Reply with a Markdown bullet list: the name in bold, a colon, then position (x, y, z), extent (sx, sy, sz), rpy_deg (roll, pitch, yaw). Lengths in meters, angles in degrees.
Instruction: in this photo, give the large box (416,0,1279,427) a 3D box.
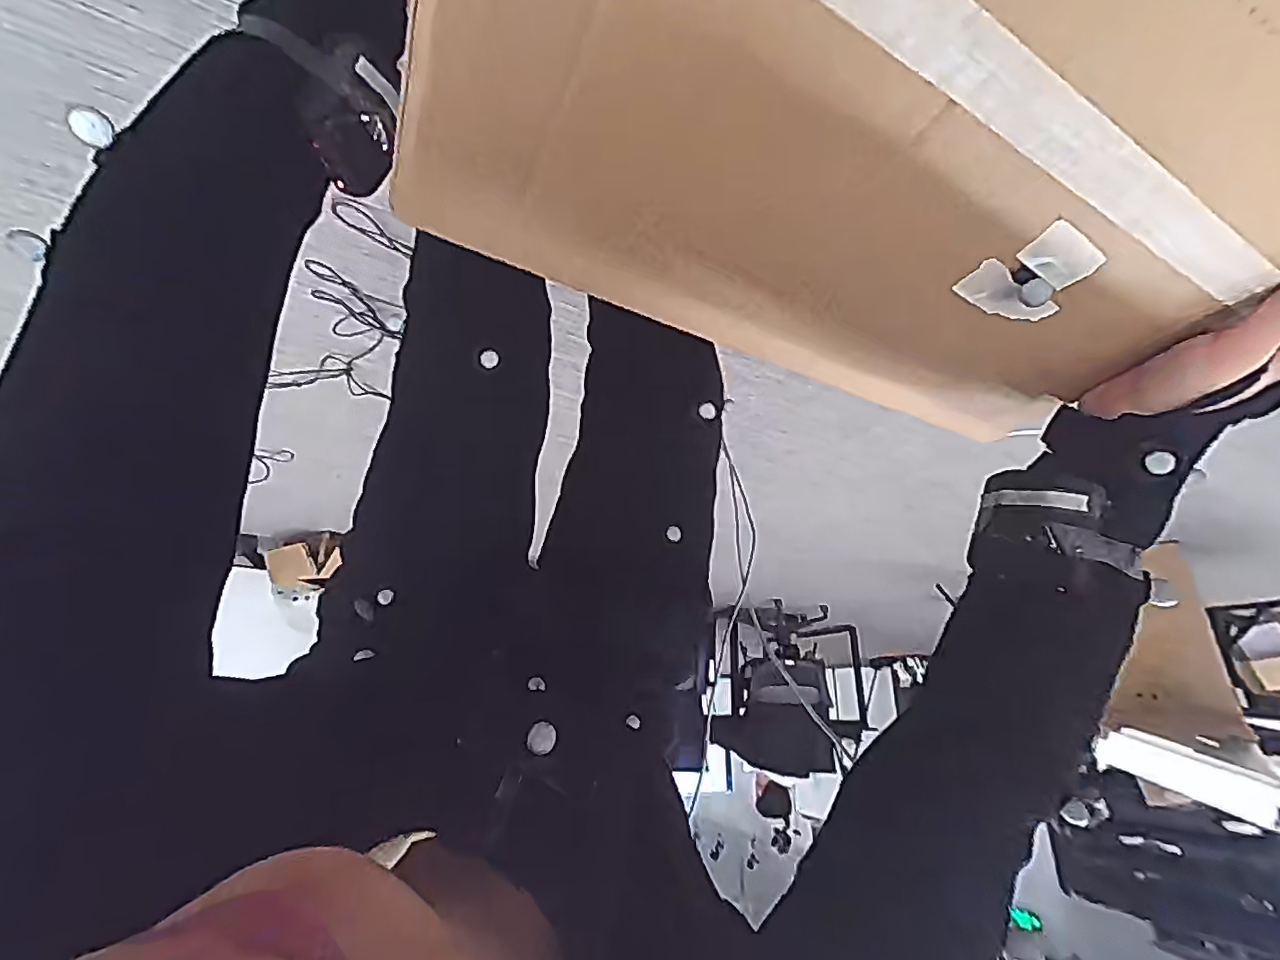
- **large box**: position (0.140, -0.268, 0.259), extent (0.408, 0.320, 0.320), rpy_deg (12, 153, -24)
